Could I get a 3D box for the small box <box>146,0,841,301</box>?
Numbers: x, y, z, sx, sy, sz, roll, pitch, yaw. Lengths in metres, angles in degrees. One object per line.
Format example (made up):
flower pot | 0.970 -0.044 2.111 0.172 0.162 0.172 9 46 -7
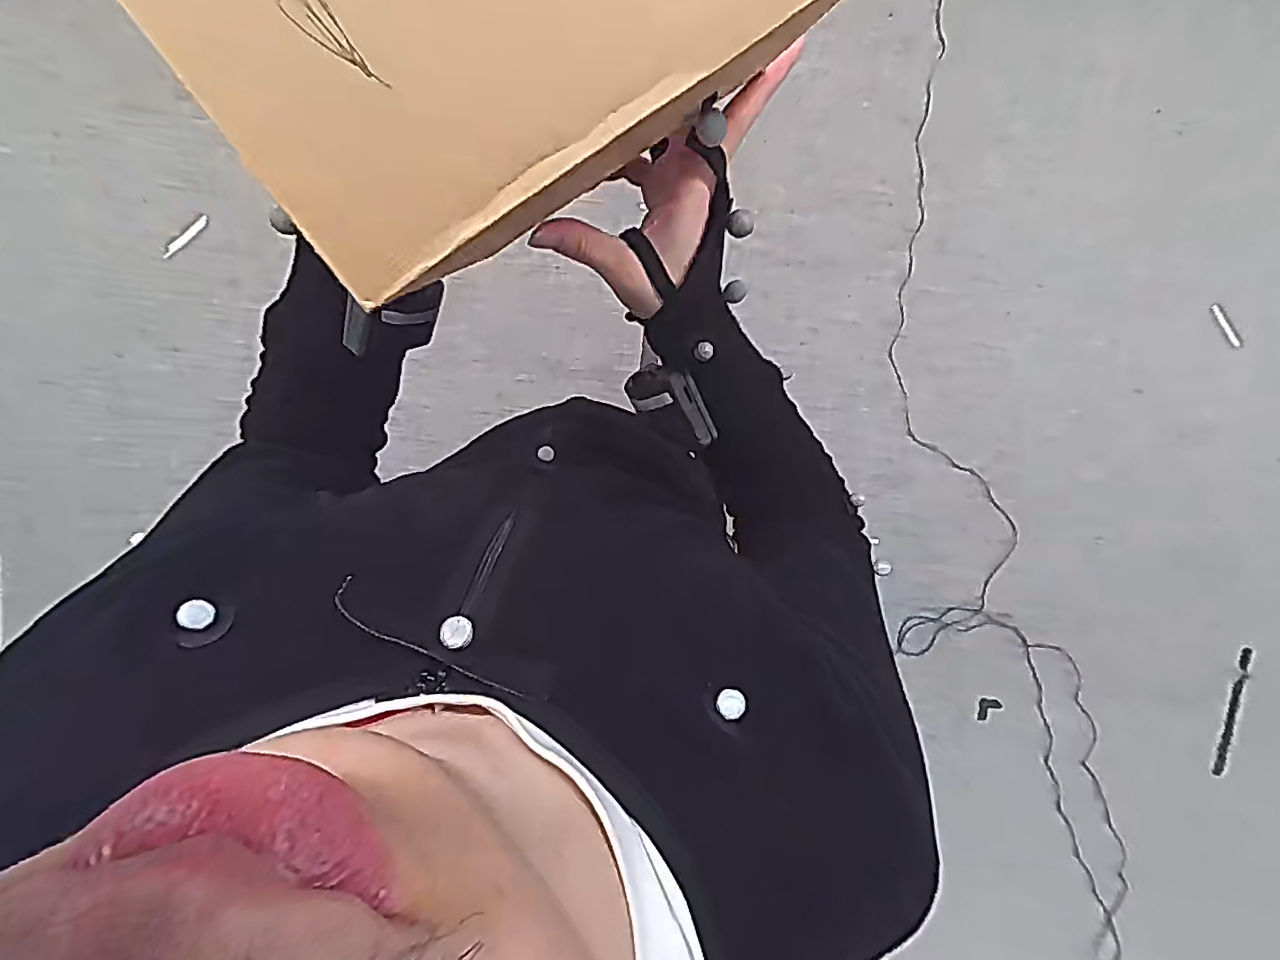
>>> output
small box | -0.055 -0.198 0.205 0.179 0.176 0.168 -27 115 14
